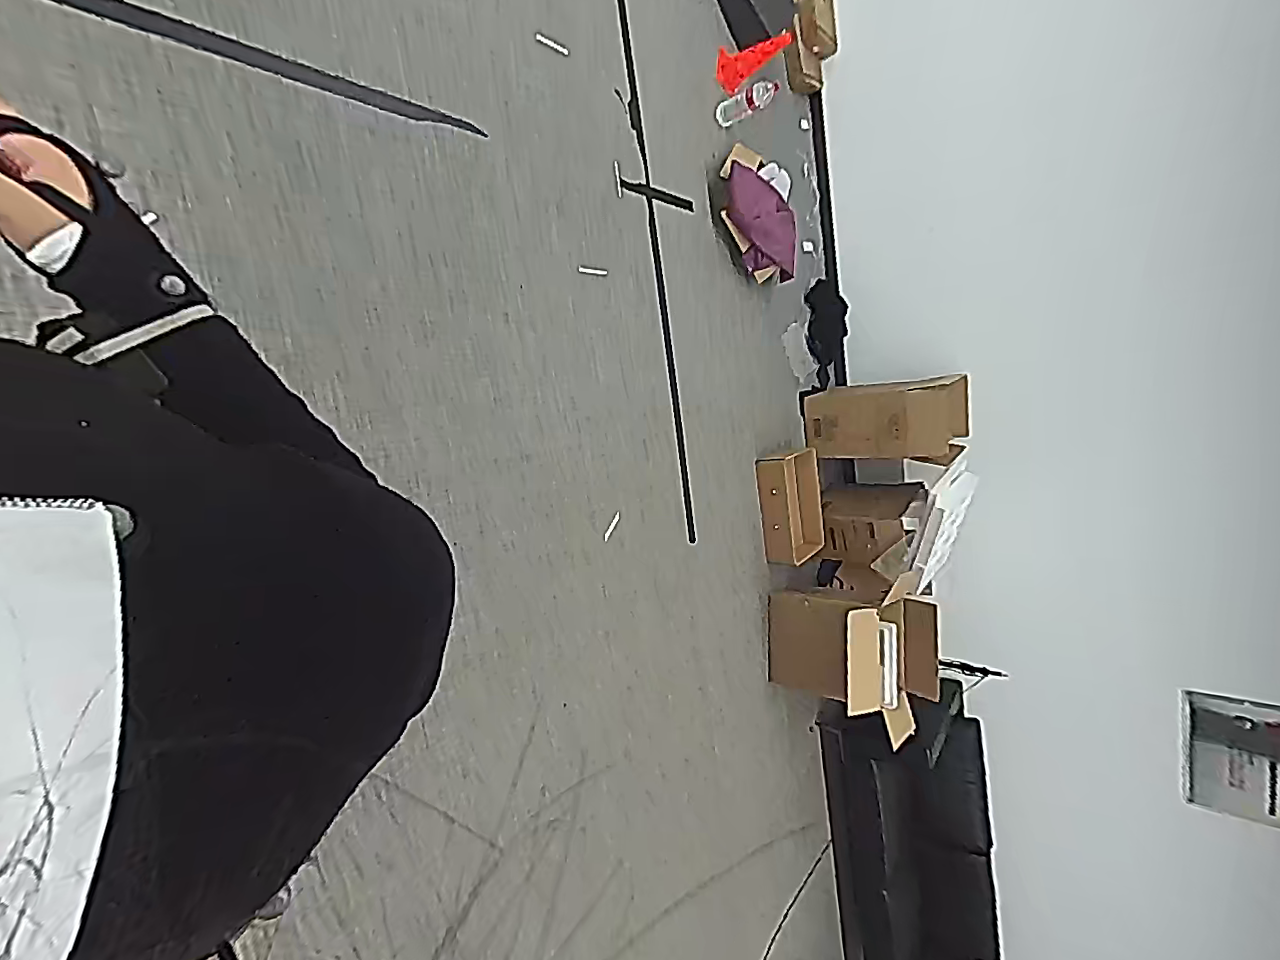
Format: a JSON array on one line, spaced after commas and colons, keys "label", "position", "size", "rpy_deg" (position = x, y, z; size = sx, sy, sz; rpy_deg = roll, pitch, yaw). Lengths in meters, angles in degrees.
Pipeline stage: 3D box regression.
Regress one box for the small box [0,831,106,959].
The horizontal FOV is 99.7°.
[{"label": "small box", "position": [-0.760, 0.564, 0.629], "size": [0.179, 0.176, 0.168], "rpy_deg": [-18, 102, -47]}]
